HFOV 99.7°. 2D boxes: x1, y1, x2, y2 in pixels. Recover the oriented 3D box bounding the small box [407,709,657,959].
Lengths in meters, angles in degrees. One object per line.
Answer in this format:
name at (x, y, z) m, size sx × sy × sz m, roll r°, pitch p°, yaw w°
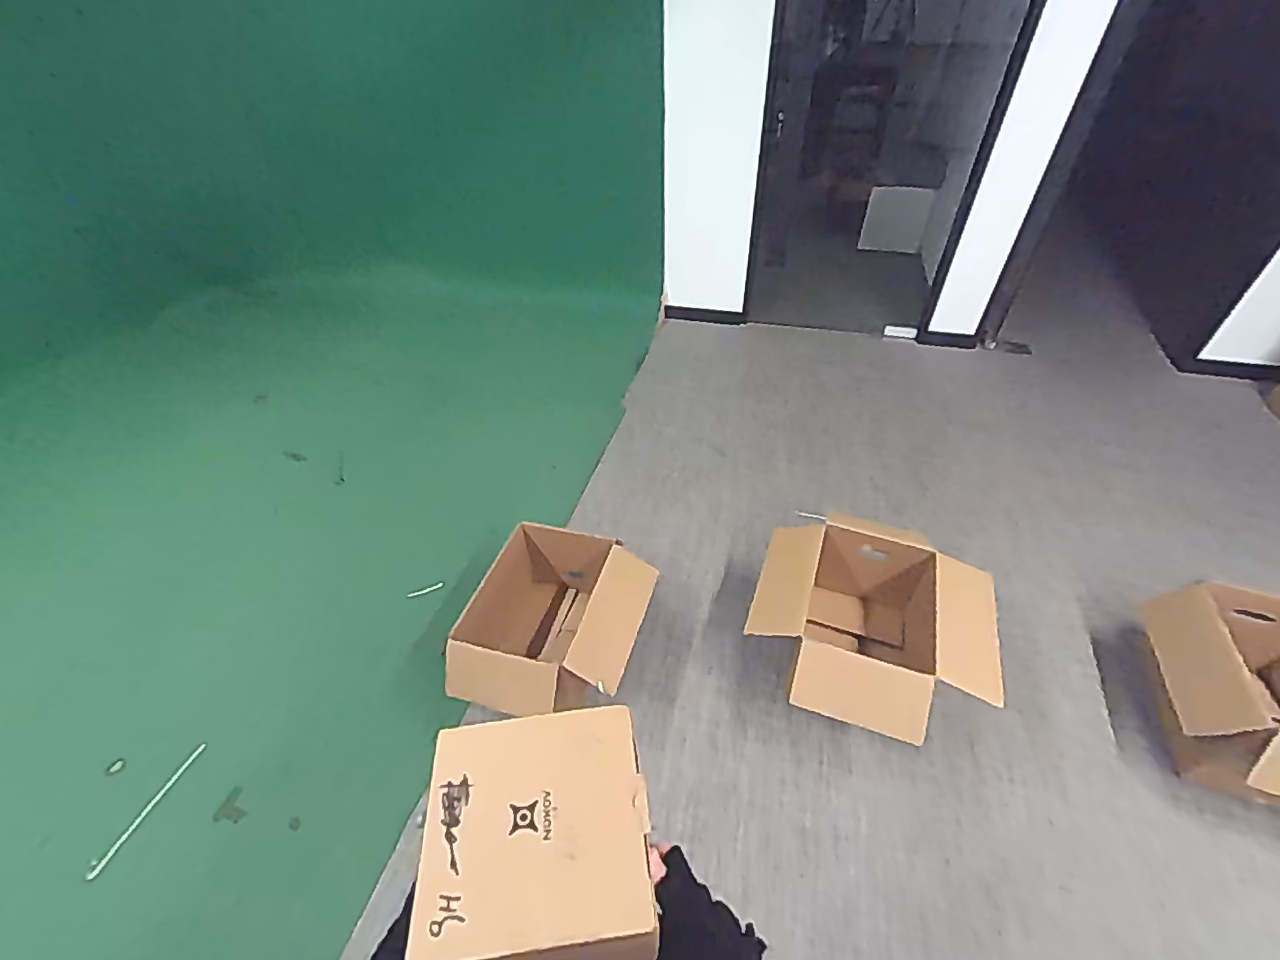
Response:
small box at (-0.083, 0.332, 0.489) m, size 0.179 × 0.176 × 0.168 m, roll -4°, pitch 40°, yaw -5°
